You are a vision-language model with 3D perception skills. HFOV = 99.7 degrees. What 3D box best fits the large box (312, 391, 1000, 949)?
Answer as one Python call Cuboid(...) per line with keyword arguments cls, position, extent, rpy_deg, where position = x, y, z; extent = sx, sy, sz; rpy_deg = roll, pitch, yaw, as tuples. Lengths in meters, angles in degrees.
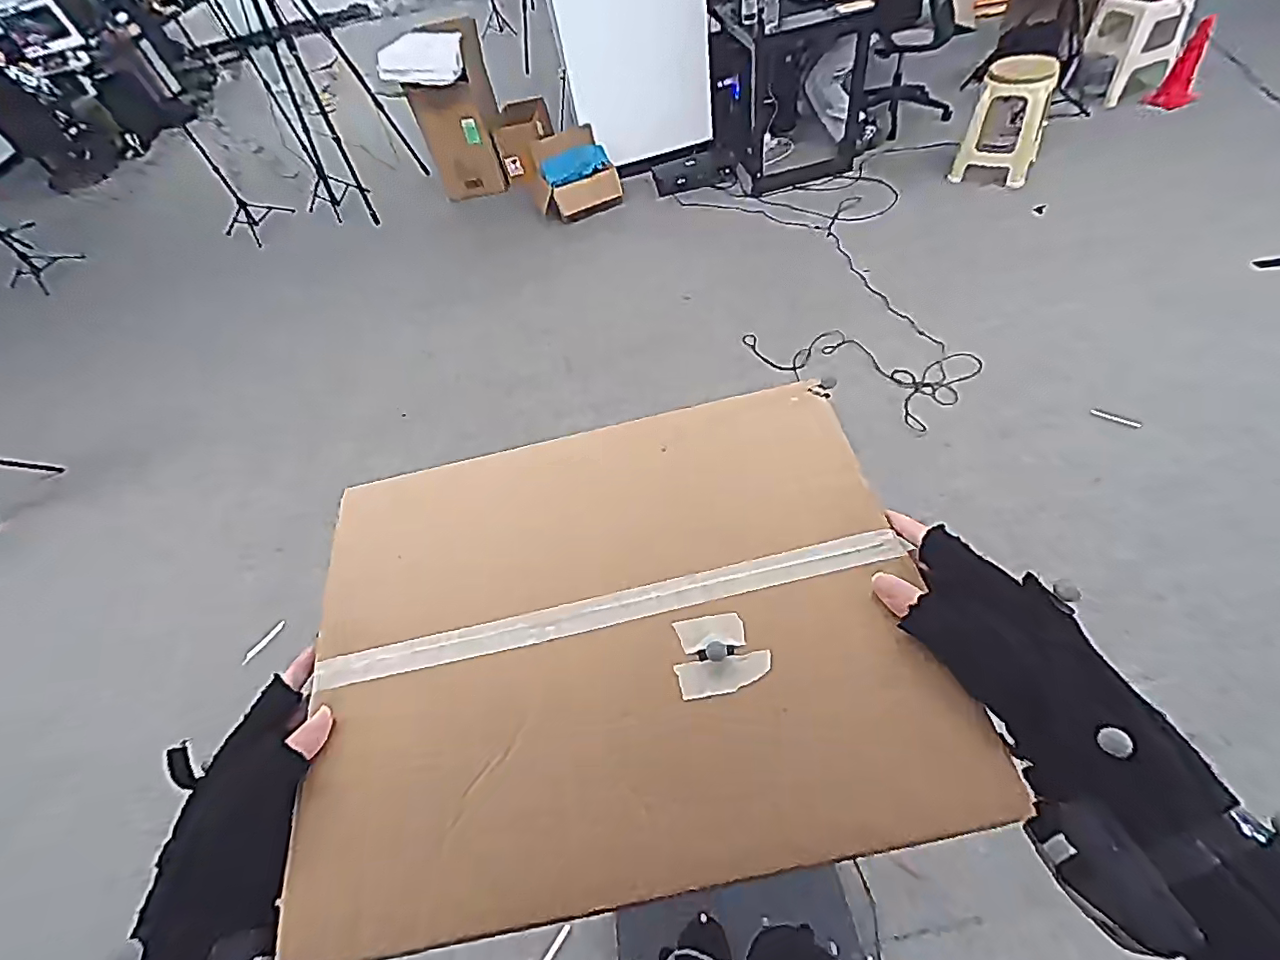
Cuboid(cls="large box", position=(0.000, 0.172, 0.504), extent=(0.408, 0.320, 0.320), rpy_deg=(-13, 57, 1))
